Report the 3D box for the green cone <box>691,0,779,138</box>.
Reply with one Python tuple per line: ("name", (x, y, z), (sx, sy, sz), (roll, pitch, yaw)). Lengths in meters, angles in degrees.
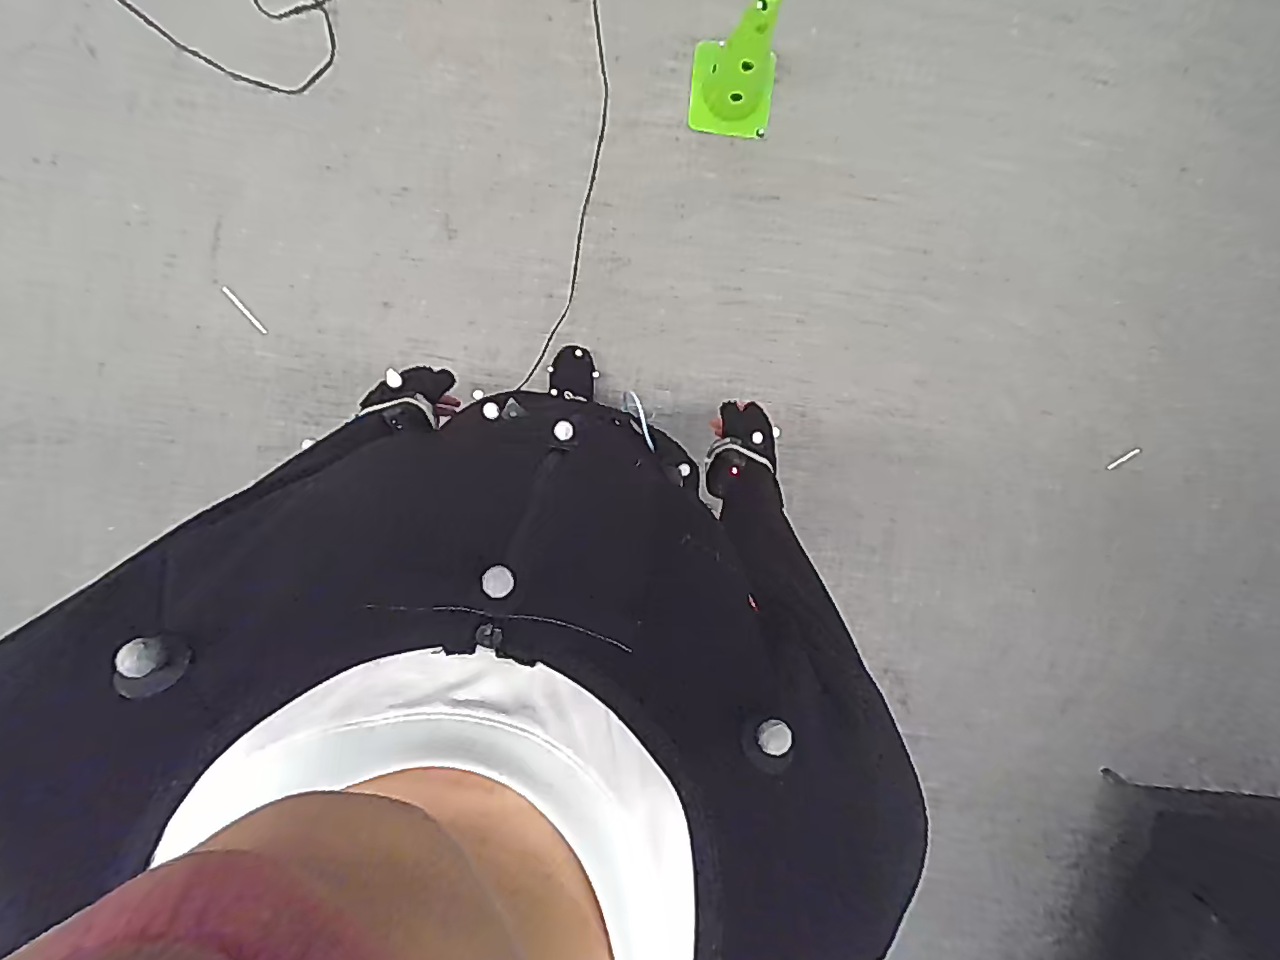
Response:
("green cone", (0.237, -0.928, 1.155), (0.202, 0.368, 0.200), (5, 99, -2))
